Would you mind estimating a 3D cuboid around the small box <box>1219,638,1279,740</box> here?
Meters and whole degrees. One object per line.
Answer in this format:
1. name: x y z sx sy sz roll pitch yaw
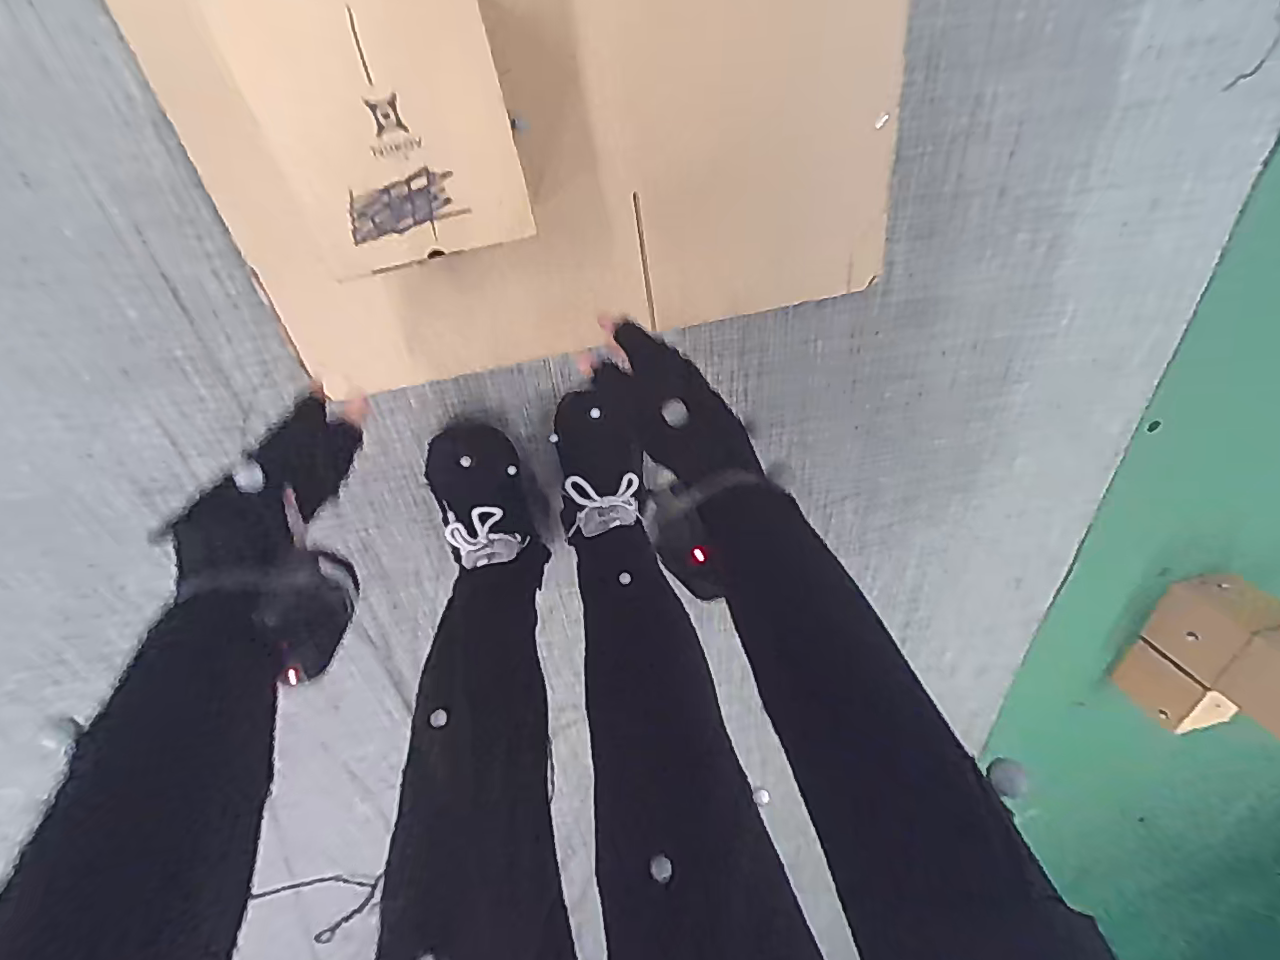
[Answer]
1. small box: 1.351 0.429 1.089 0.168 0.176 0.179 -9 123 -8
